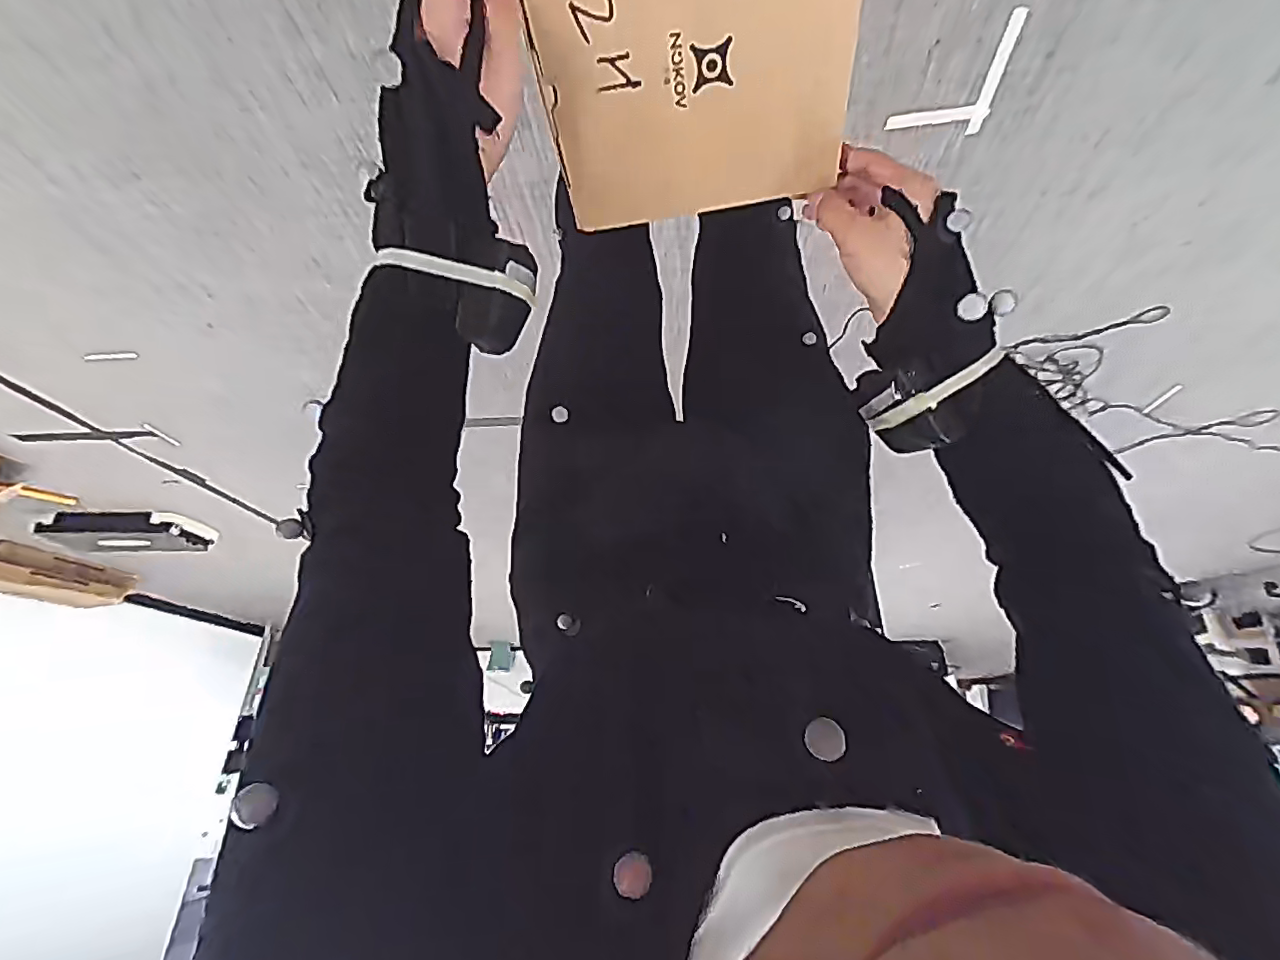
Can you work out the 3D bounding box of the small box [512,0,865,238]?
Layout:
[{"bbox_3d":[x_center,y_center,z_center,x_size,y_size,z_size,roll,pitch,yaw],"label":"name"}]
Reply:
[{"bbox_3d":[0.025,-0.285,0.335,0.179,0.176,0.168,-8,144,6],"label":"small box"}]
